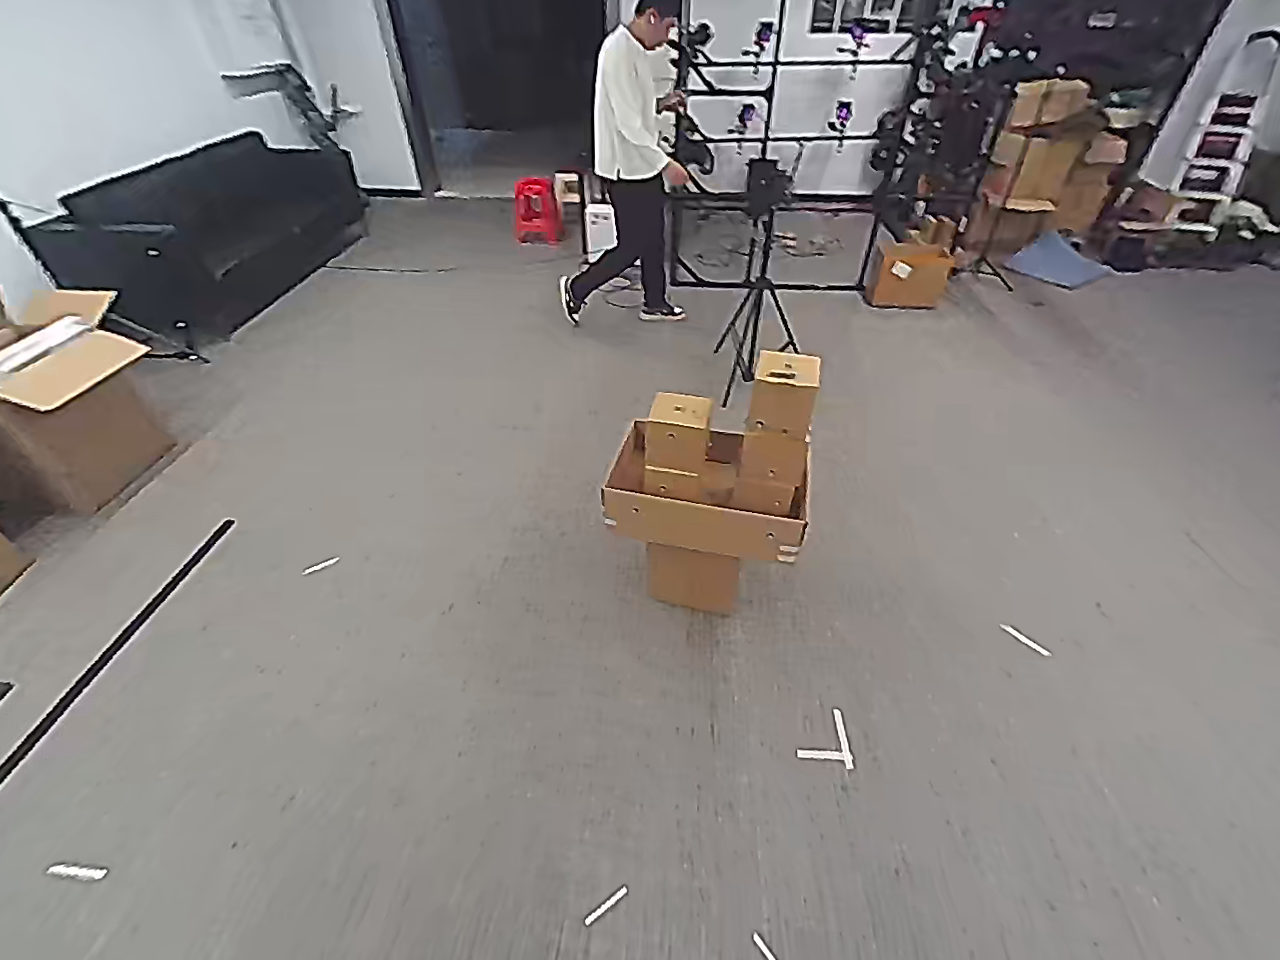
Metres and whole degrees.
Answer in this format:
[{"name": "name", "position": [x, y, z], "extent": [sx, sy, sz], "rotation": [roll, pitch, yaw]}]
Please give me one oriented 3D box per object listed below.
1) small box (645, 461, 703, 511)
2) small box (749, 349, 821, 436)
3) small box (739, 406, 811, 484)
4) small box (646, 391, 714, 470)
[{"name": "small box", "position": [0.113, -0.020, 1.753], "extent": [0.168, 0.176, 0.179], "rotation": [9, 41, 9]}, {"name": "small box", "position": [0.400, -0.242, 1.501], "extent": [0.168, 0.176, 0.179], "rotation": [10, 41, 12]}, {"name": "small box", "position": [0.397, -0.107, 1.598], "extent": [0.179, 0.176, 0.168], "rotation": [8, 42, 8]}, {"name": "small box", "position": [0.120, -0.149, 1.650], "extent": [0.179, 0.176, 0.168], "rotation": [10, 42, 10]}]
